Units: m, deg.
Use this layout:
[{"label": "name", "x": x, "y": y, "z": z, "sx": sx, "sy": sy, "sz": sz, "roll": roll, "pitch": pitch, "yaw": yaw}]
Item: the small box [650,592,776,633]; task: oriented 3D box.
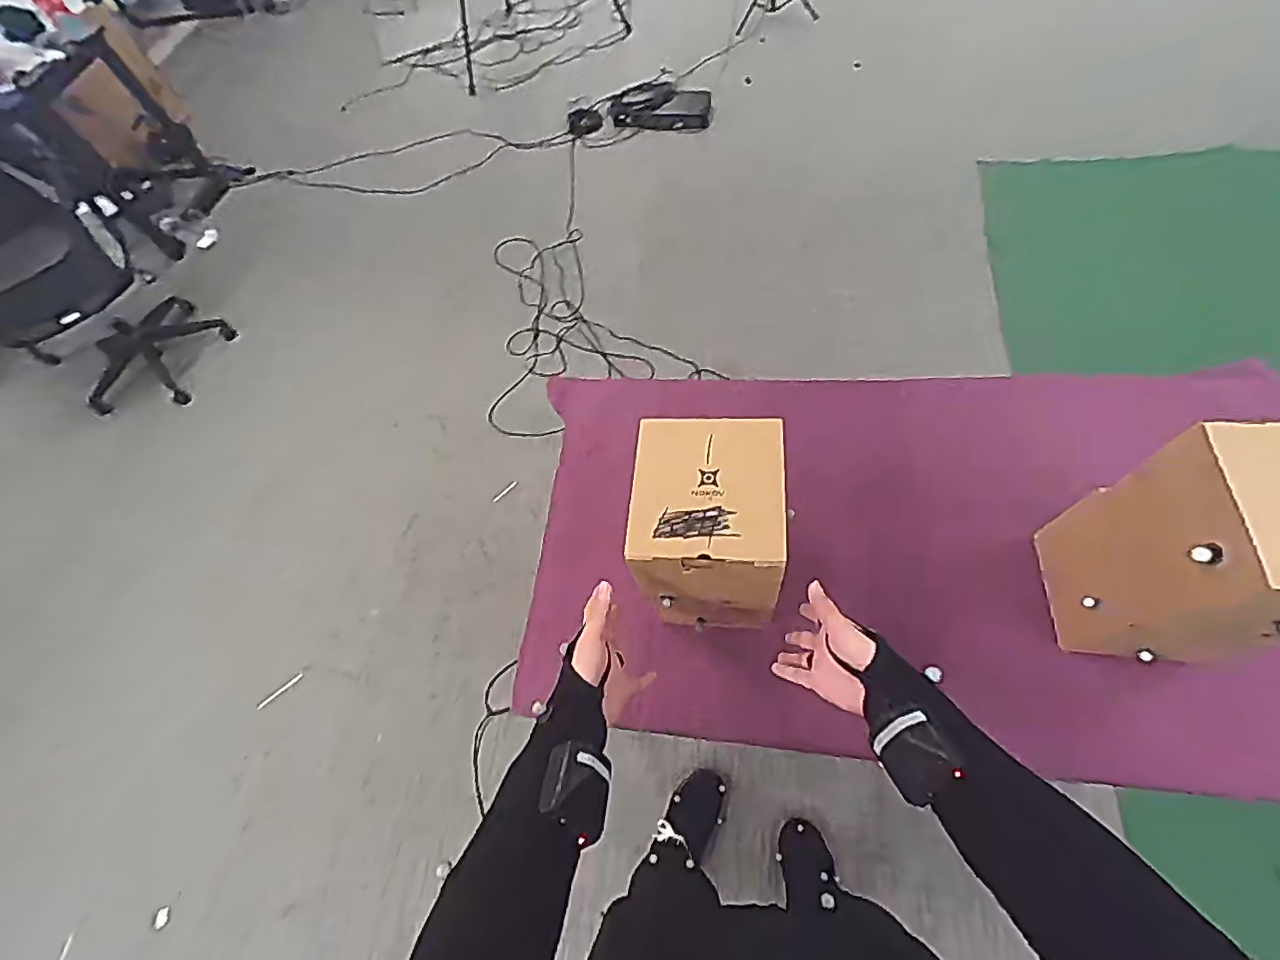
[{"label": "small box", "x": 0.108, "y": 0.112, "z": 0.790, "sx": 0.168, "sy": 0.176, "sz": 0.179, "roll": 2, "pitch": 63, "yaw": 10}]

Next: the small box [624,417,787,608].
[{"label": "small box", "x": 0.084, "y": 0.044, "z": 0.643, "sx": 0.168, "sy": 0.176, "sz": 0.179, "roll": 2, "pitch": 61, "yaw": 10}]

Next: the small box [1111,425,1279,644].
[{"label": "small box", "x": 0.639, "y": 0.064, "z": 0.551, "sx": 0.168, "sy": 0.176, "sz": 0.179, "roll": 3, "pitch": 62, "yaw": 9}]
